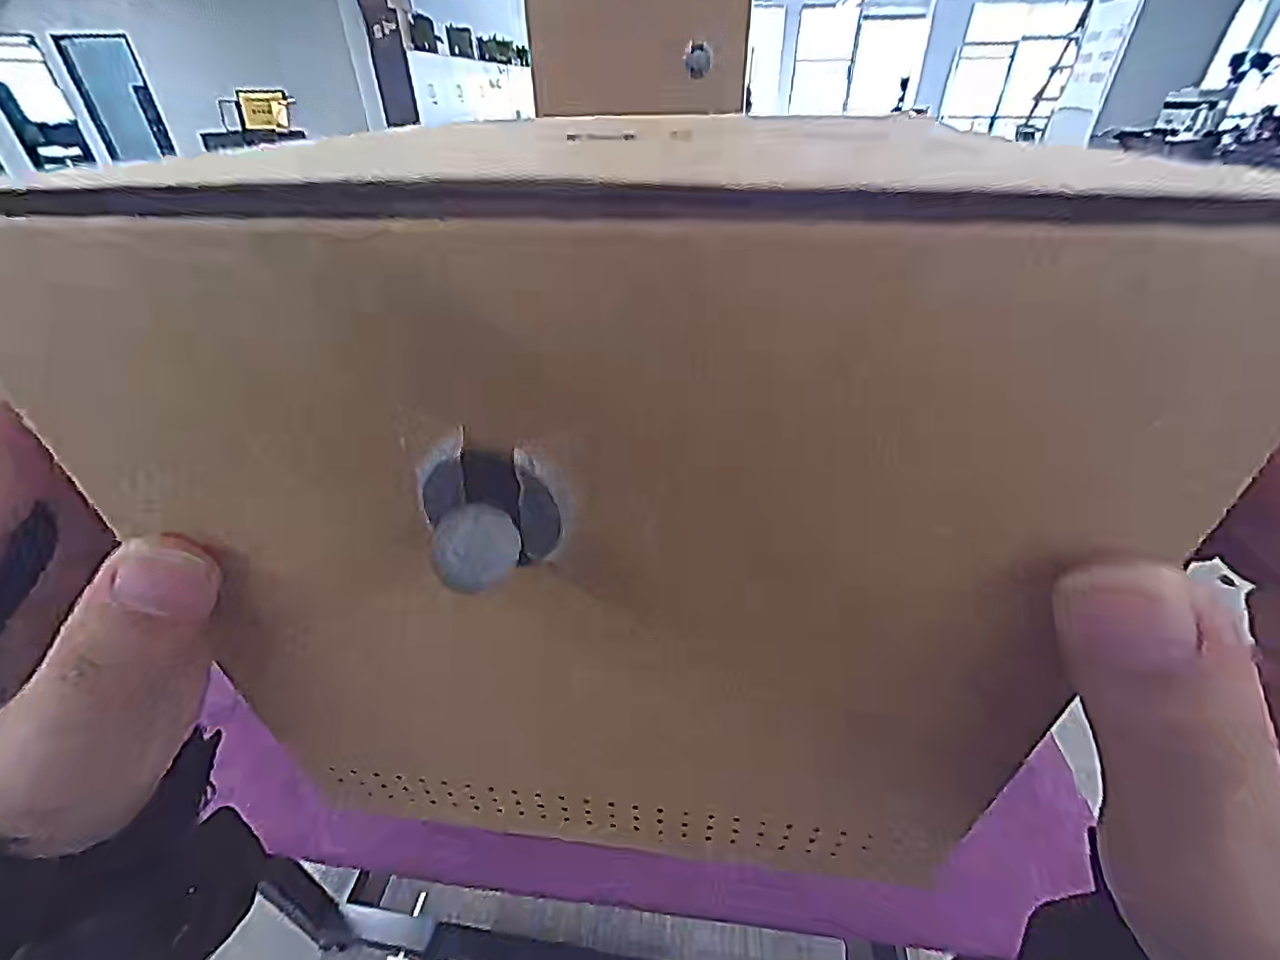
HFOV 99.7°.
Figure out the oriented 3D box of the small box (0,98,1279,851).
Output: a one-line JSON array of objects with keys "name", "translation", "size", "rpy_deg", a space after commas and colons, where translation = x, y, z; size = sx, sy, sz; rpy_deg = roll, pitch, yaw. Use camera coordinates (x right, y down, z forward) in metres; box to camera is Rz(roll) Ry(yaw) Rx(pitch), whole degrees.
[{"name": "small box", "translation": [0.006, -0.014, 0.170], "size": [0.179, 0.176, 0.168], "rpy_deg": [3, 37, 6]}]
